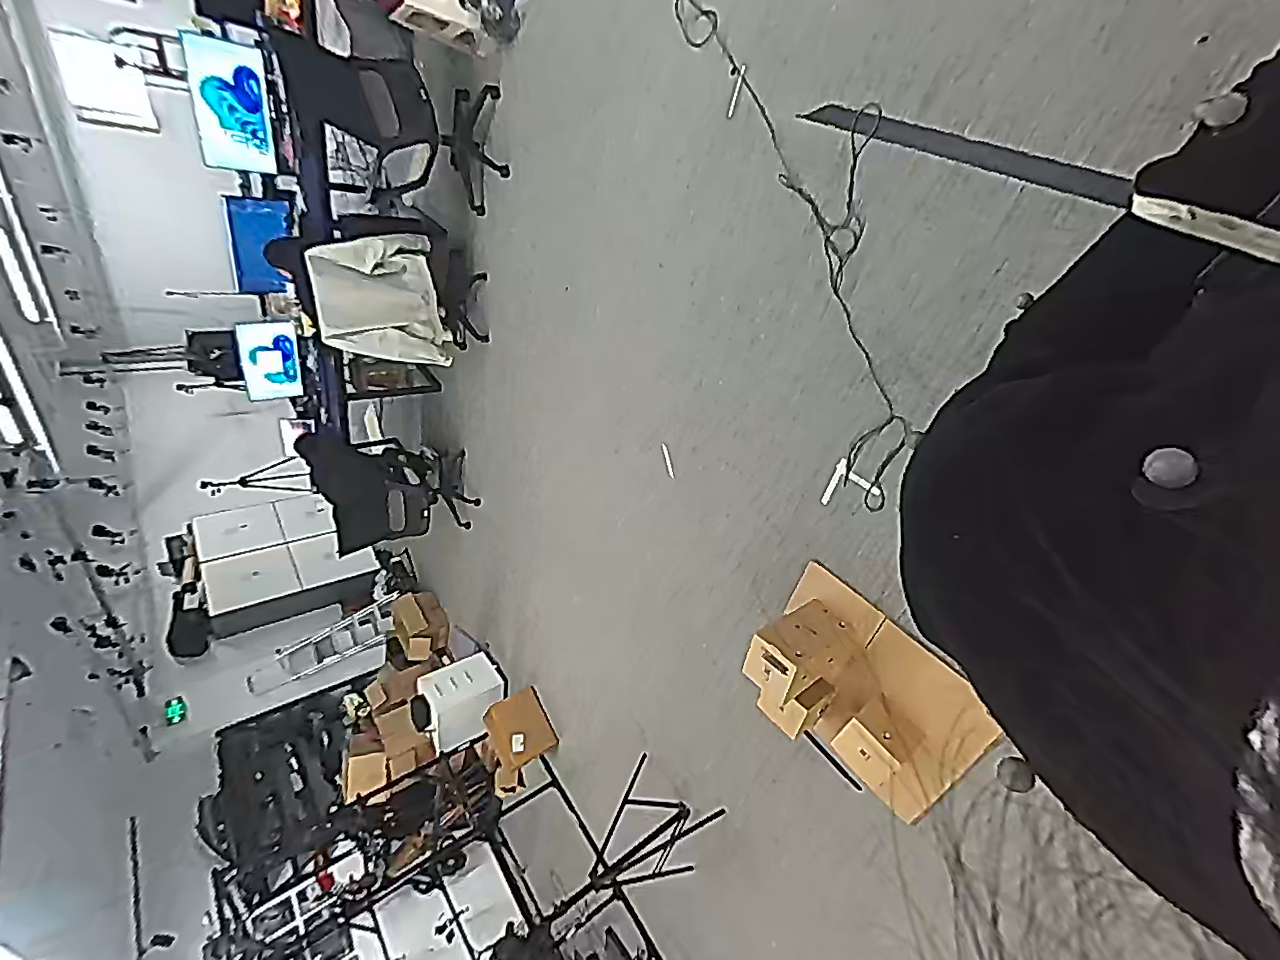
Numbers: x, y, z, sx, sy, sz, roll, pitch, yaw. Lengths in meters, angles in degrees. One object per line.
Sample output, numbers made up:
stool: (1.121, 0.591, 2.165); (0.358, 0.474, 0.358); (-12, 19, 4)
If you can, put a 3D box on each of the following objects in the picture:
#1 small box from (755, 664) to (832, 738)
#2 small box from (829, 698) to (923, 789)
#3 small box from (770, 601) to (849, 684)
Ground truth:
small box: (0.545, 0.768, 1.924); (0.179, 0.176, 0.168); (37, 130, 38)
small box: (0.738, 0.814, 1.693); (0.179, 0.176, 0.168); (44, 133, 32)
small box: (0.571, 0.536, 1.809); (0.168, 0.176, 0.179); (38, 129, 38)
